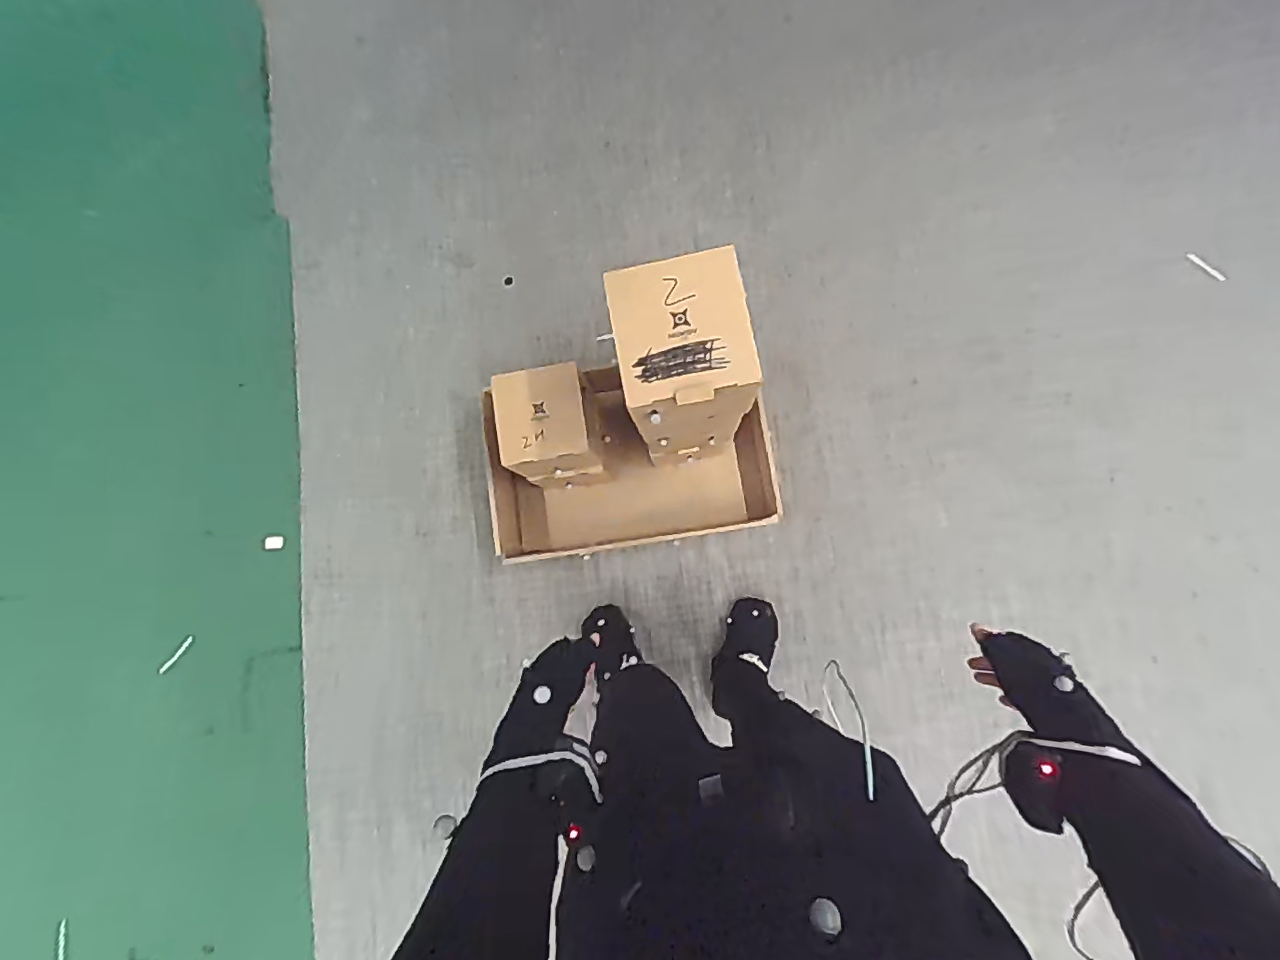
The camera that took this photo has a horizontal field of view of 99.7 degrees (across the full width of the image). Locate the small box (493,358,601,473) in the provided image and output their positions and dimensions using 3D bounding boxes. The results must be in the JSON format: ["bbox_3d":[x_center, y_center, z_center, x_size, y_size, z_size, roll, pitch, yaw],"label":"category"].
[{"bbox_3d":[-0.178,-0.120,1.069,0.168,0.176,0.179,-9,83,3],"label":"small box"}]

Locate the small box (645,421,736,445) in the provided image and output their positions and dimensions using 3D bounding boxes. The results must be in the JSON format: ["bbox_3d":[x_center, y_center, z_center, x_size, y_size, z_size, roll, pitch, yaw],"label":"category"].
[{"bbox_3d":[0.088,-0.167,1.035,0.168,0.176,0.179,-9,83,5],"label":"small box"}]

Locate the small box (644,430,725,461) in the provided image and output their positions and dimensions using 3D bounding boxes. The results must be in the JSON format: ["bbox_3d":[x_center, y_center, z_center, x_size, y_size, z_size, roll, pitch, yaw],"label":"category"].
[{"bbox_3d":[0.092,-0.144,1.216,0.168,0.176,0.179,-13,83,5],"label":"small box"}]

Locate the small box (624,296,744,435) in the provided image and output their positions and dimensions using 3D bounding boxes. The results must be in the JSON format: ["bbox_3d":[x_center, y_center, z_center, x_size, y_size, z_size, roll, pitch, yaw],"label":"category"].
[{"bbox_3d":[0.073,-0.175,0.889,0.168,0.176,0.179,-8,83,4],"label":"small box"}]
